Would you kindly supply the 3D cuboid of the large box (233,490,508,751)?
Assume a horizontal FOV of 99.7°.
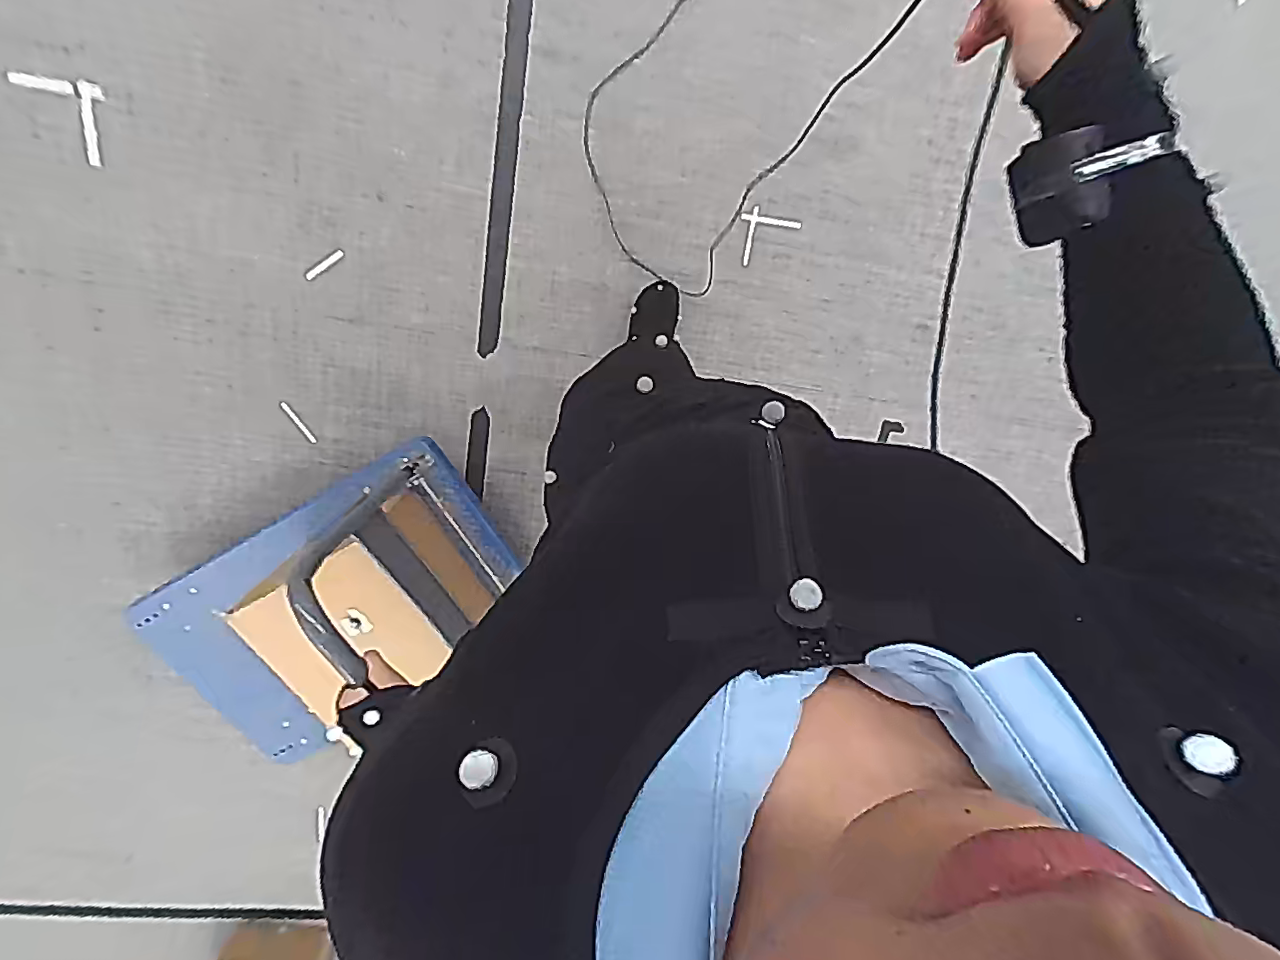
[{"bbox_3d":[-0.553,0.296,1.208,0.320,0.320,0.408,-30,107,3],"label":"large box"}]
